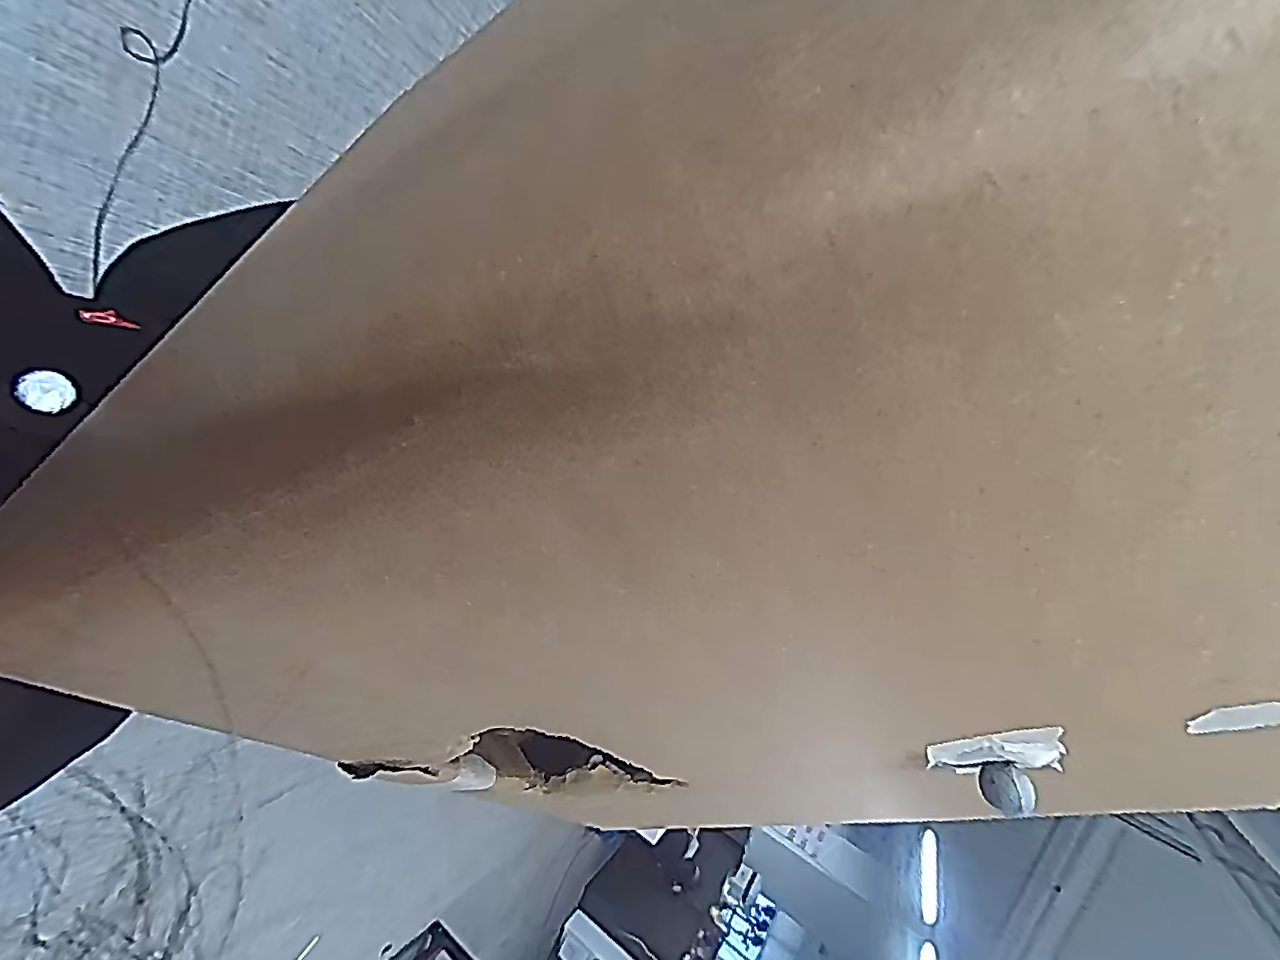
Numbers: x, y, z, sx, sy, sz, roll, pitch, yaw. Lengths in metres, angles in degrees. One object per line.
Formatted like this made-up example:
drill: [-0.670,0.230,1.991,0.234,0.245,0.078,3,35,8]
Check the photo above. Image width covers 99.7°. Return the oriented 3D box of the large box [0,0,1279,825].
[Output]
large box: [0.033,-0.071,0.298,0.320,0.320,0.408,51,32,-41]
